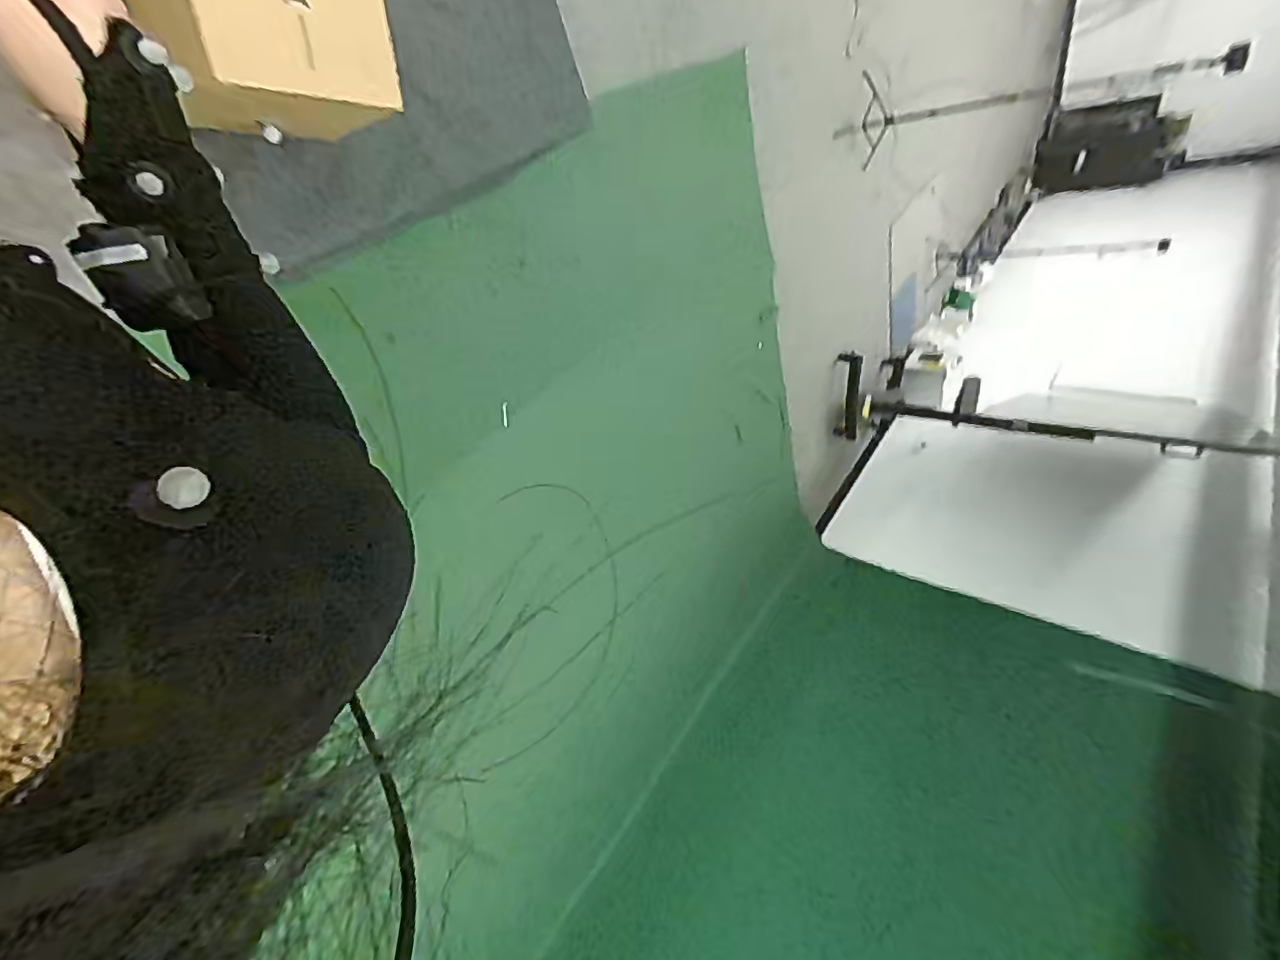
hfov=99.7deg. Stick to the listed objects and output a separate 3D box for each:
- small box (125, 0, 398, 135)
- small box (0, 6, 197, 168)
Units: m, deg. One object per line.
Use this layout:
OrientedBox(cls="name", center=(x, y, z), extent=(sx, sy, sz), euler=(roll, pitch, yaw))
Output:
OrientedBox(cls="small box", center=(-0.363, -0.449, 0.506), extent=(0.168, 0.176, 0.179), euler=(-28, 122, -44))
OrientedBox(cls="small box", center=(-0.922, -0.664, 0.930), extent=(0.179, 0.176, 0.168), euler=(-50, 137, -26))
